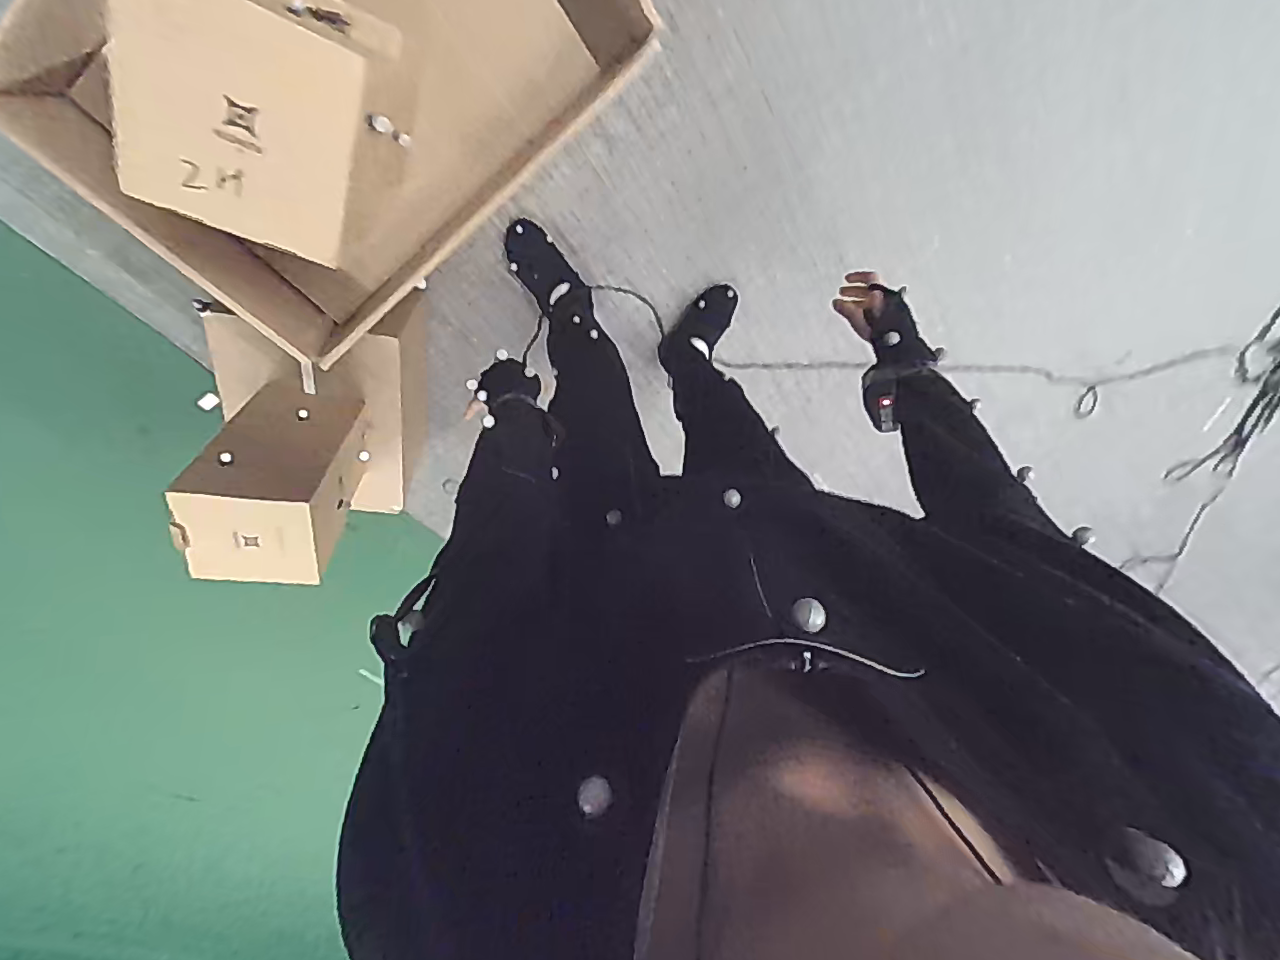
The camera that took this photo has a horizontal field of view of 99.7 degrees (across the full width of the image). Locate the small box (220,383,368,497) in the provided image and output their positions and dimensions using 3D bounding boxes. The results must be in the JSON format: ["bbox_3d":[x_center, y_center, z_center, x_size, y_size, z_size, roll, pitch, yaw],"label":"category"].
[{"bbox_3d":[-0.607,-0.058,0.970,0.179,0.176,0.168,8,123,-17],"label":"small box"}]

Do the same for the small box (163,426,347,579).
[{"bbox_3d":[-0.575,0.031,0.837,0.179,0.176,0.168,6,124,-15],"label":"small box"}]

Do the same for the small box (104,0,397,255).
[{"bbox_3d":[-0.334,-0.341,0.493,0.168,0.176,0.179,16,121,-20],"label":"small box"}]
